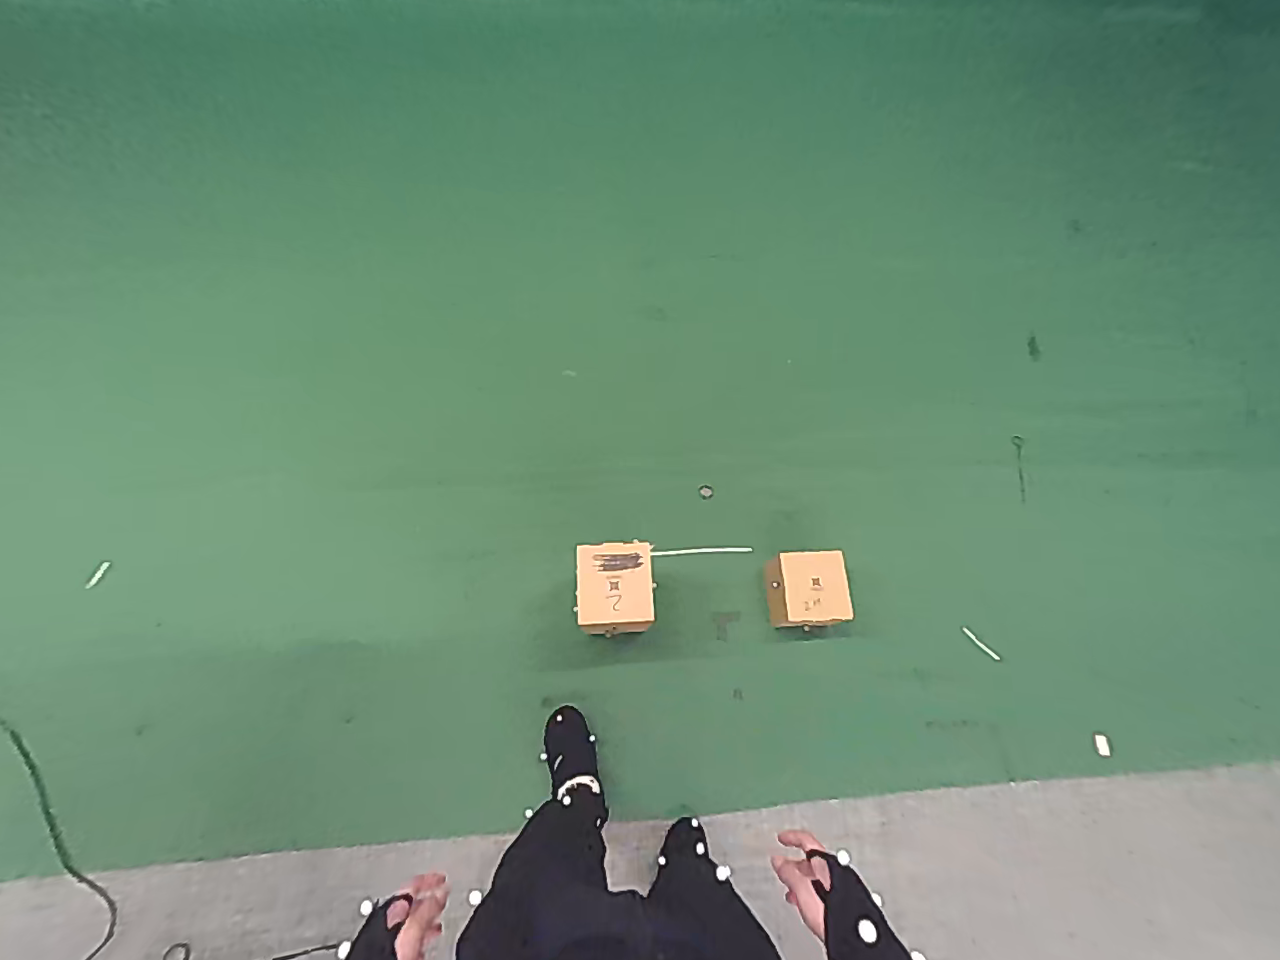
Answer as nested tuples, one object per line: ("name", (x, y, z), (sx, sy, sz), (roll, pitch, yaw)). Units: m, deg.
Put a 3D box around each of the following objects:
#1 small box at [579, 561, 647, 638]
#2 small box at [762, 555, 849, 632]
("small box", (-0.071, 0.316, 1.402), (0.168, 0.176, 0.179), (-2, 69, -4))
("small box", (0.431, 0.304, 1.437), (0.168, 0.176, 0.179), (-1, 70, -4))
